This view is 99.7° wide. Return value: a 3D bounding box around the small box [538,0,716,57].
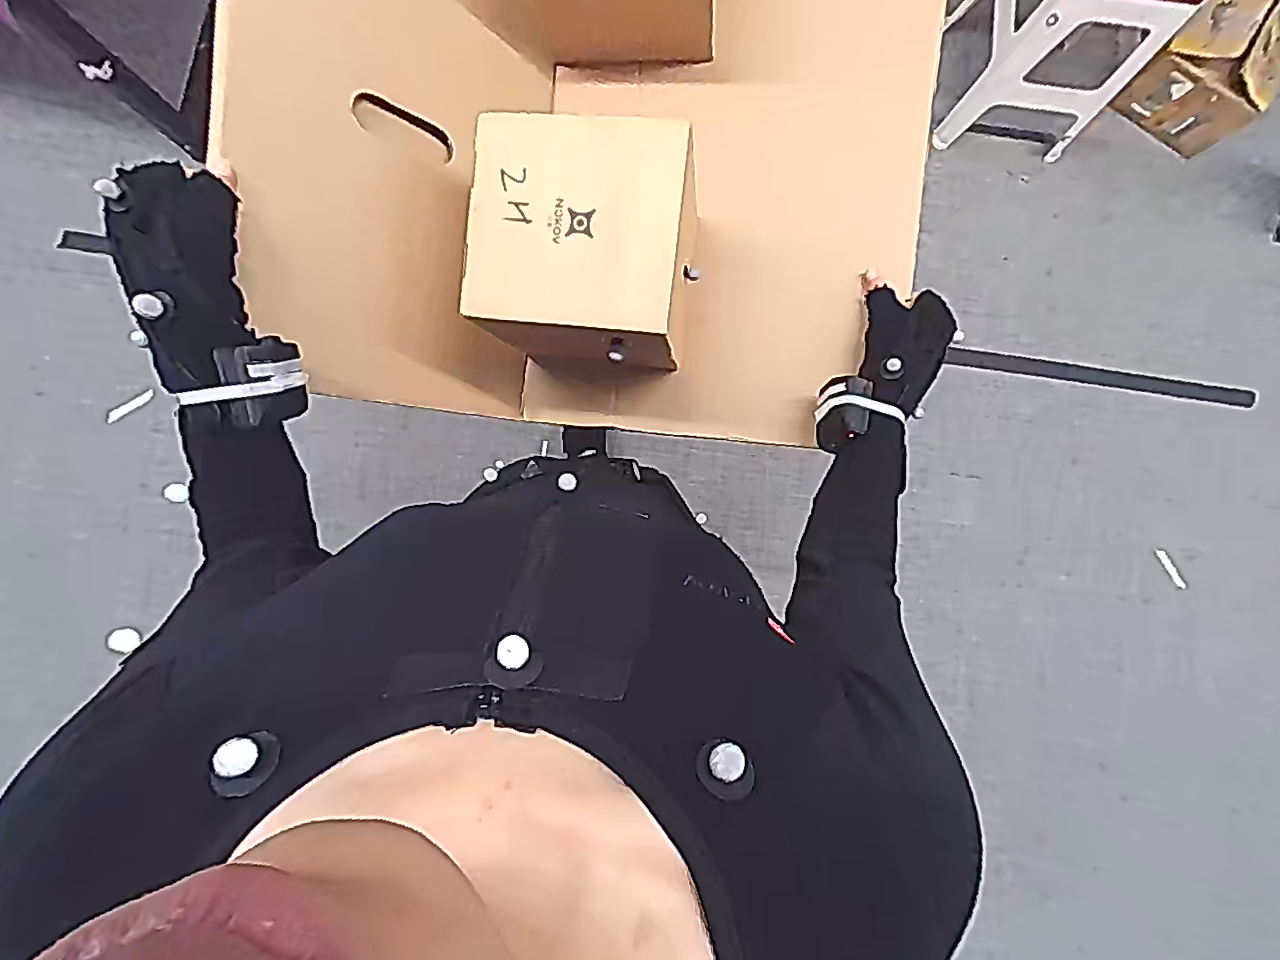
[{"bbox_3d":[-0.014,-0.537,0.505,0.179,0.176,0.168,5,92,7],"label":"small box"}]
